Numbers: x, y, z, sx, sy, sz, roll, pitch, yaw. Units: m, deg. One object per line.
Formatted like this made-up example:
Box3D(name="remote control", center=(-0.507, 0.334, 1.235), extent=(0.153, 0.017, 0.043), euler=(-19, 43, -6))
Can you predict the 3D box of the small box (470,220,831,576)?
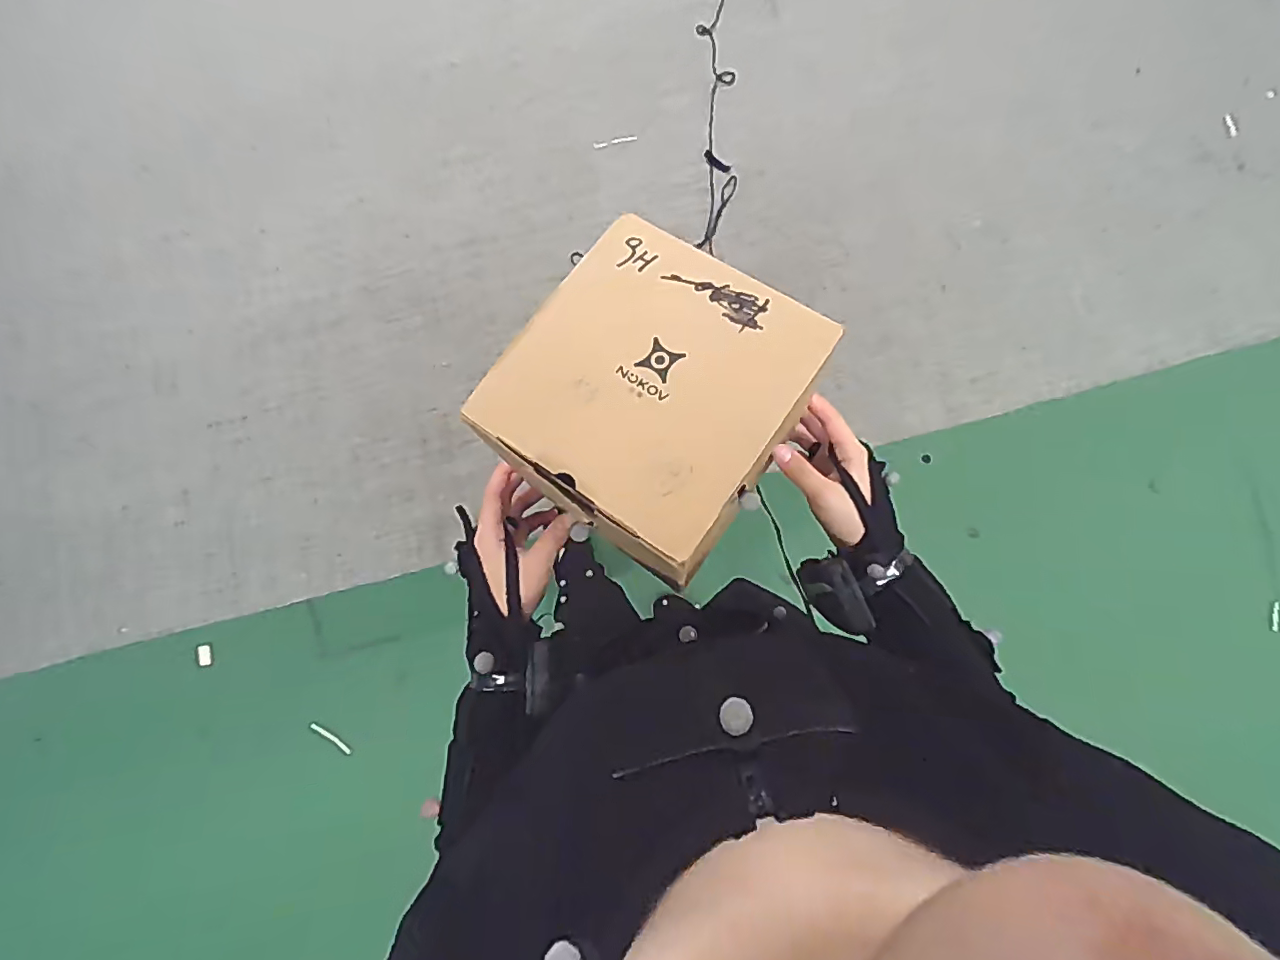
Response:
Box3D(name="small box", center=(0.013, -0.045, 0.411), extent=(0.168, 0.176, 0.179), euler=(33, 80, 13))
